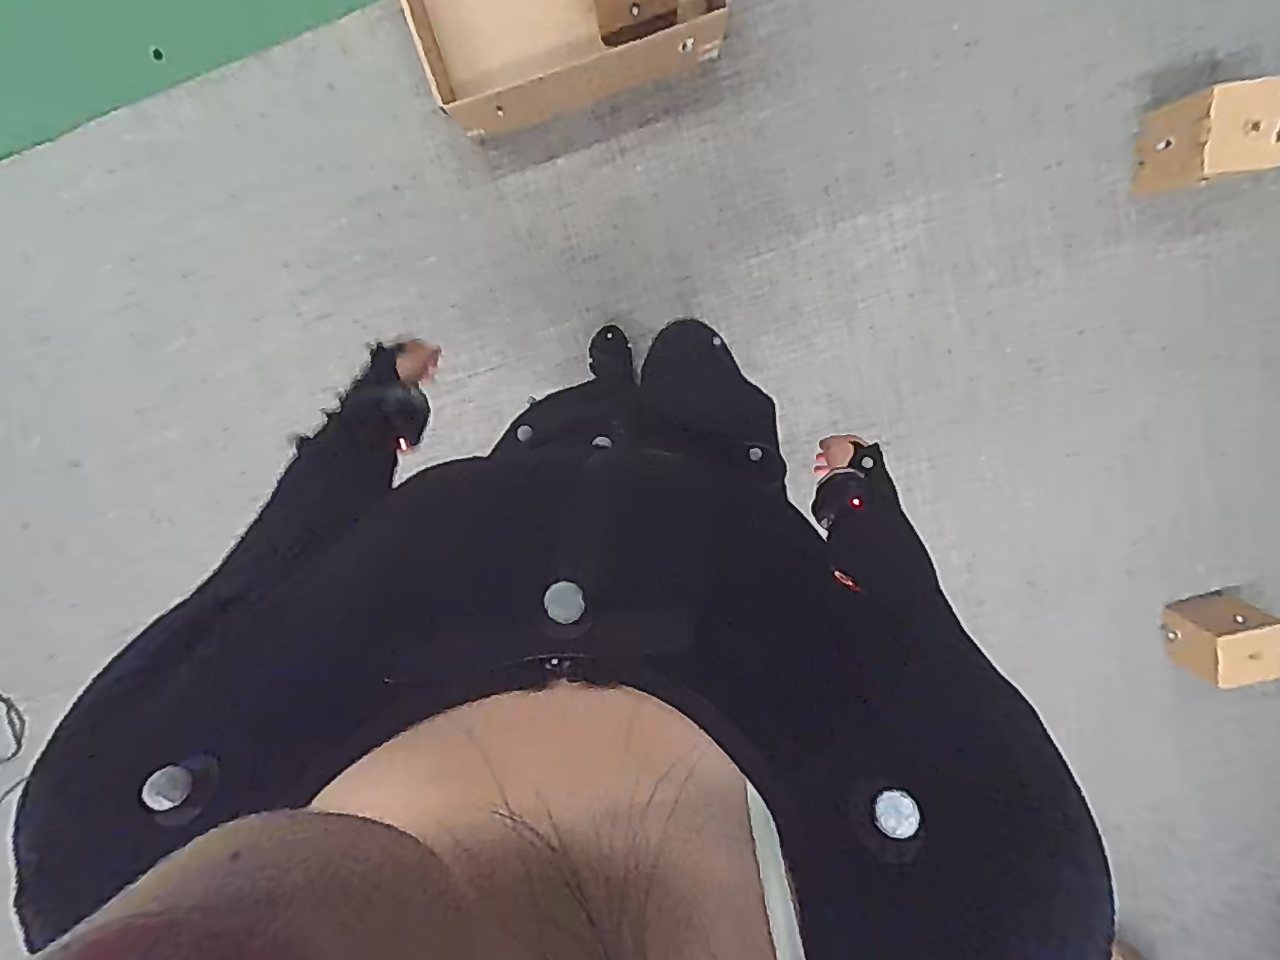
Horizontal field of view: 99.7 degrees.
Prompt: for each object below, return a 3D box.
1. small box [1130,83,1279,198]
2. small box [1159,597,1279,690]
[{"bbox_3d":[1.226,-0.726,1.174,0.179,0.176,0.168,-5,106,3],"label":"small box"},{"bbox_3d":[1.618,0.449,1.512,0.179,0.176,0.168,-17,104,7],"label":"small box"}]
